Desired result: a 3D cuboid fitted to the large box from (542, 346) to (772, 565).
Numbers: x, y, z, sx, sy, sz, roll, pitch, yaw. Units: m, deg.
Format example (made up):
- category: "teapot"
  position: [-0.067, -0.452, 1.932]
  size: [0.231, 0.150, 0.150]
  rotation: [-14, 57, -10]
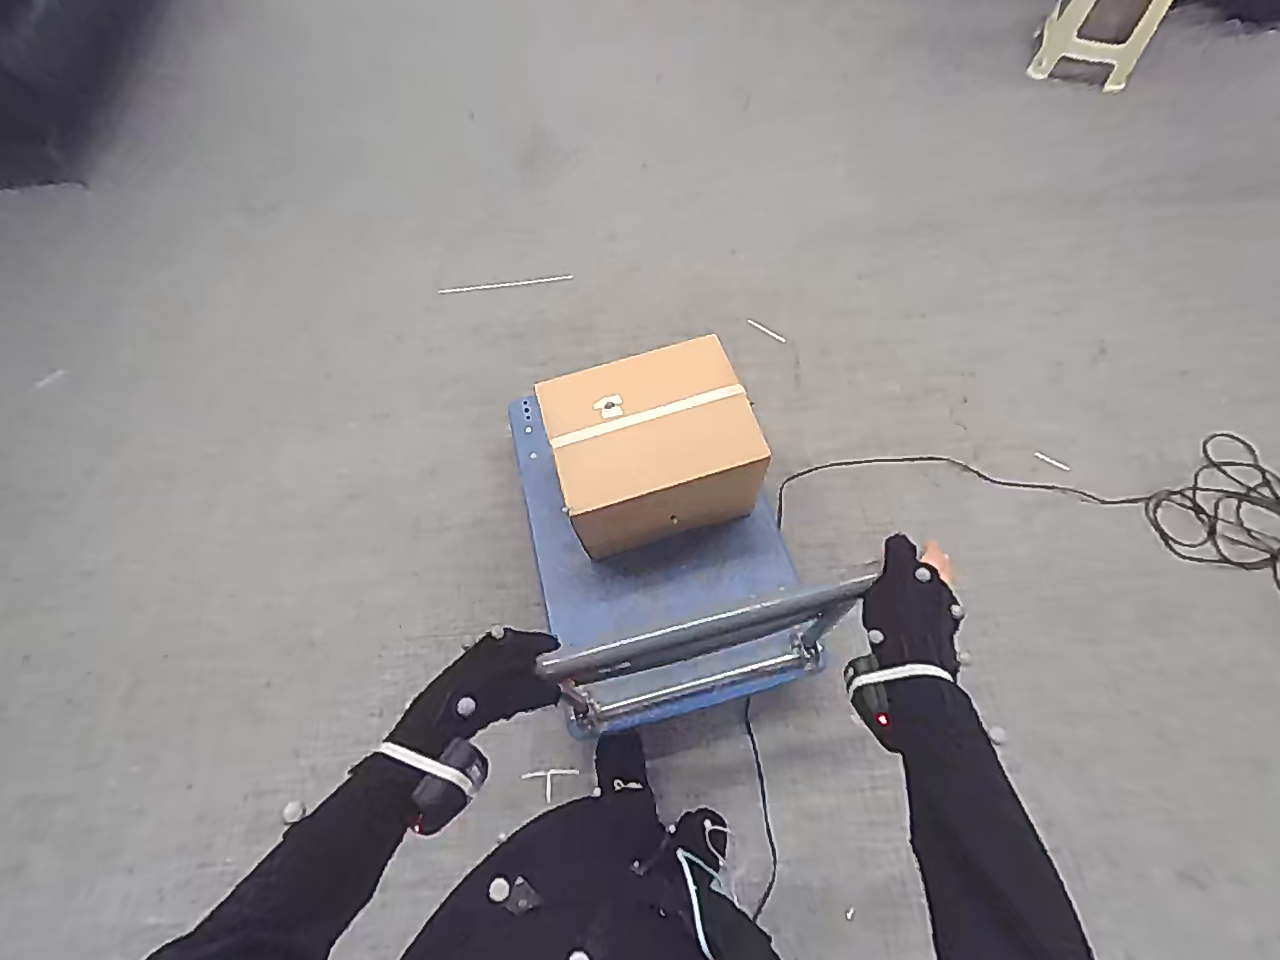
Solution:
- category: "large box"
  position: [0.035, -0.042, 1.226]
  size: [0.408, 0.320, 0.320]
  rotation: [-17, 65, -4]
